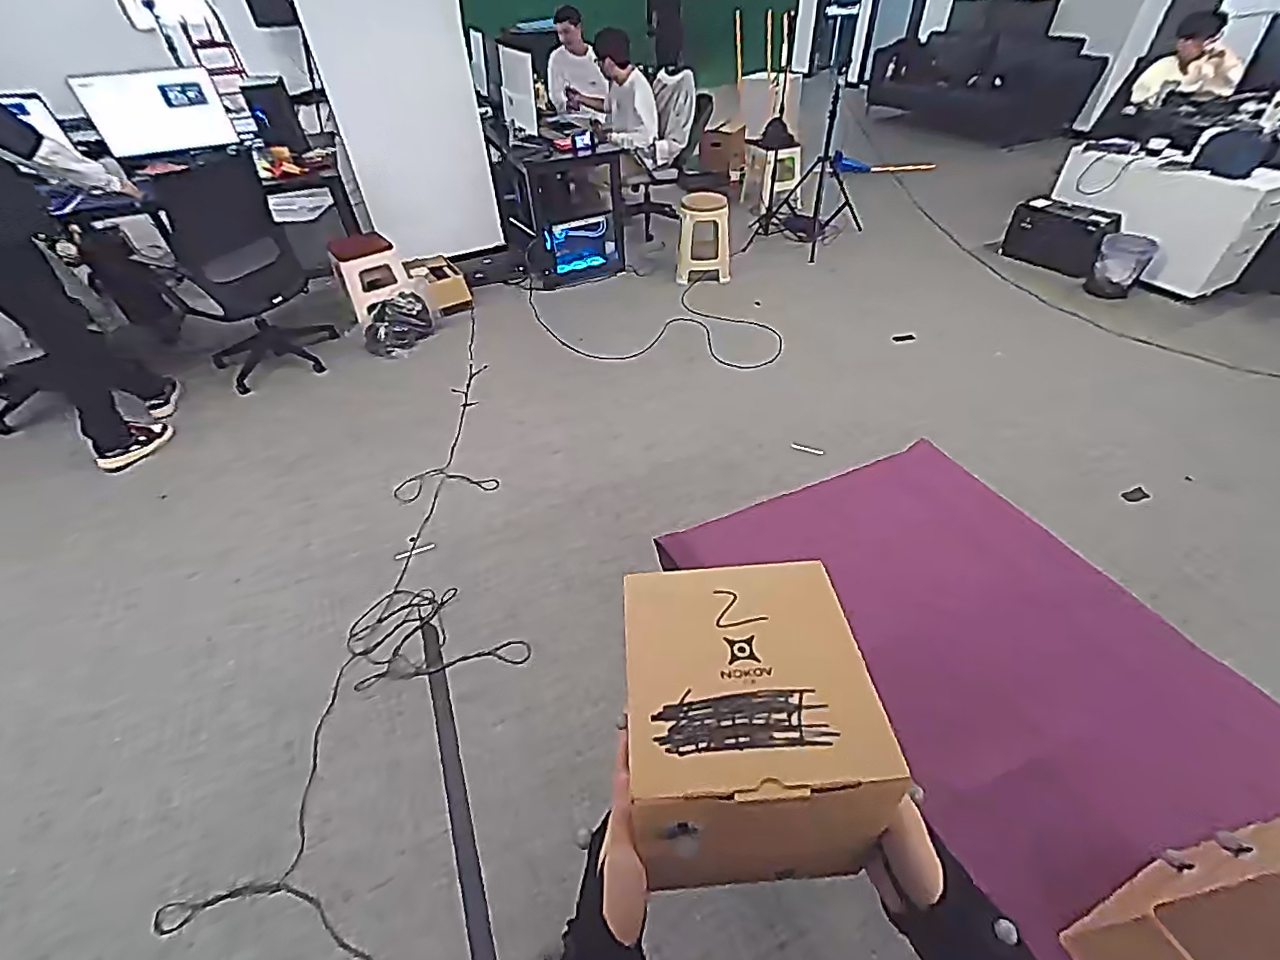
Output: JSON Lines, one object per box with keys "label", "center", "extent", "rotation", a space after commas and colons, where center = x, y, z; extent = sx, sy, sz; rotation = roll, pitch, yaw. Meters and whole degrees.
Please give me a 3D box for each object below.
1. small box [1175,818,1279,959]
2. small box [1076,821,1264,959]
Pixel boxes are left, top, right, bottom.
{"label": "small box", "center": [0.566, 0.348, 0.397], "extent": [0.179, 0.176, 0.168], "rotation": [-17, 45, -15]}
{"label": "small box", "center": [0.566, 0.468, 0.508], "extent": [0.179, 0.176, 0.168], "rotation": [-18, 45, -16]}
